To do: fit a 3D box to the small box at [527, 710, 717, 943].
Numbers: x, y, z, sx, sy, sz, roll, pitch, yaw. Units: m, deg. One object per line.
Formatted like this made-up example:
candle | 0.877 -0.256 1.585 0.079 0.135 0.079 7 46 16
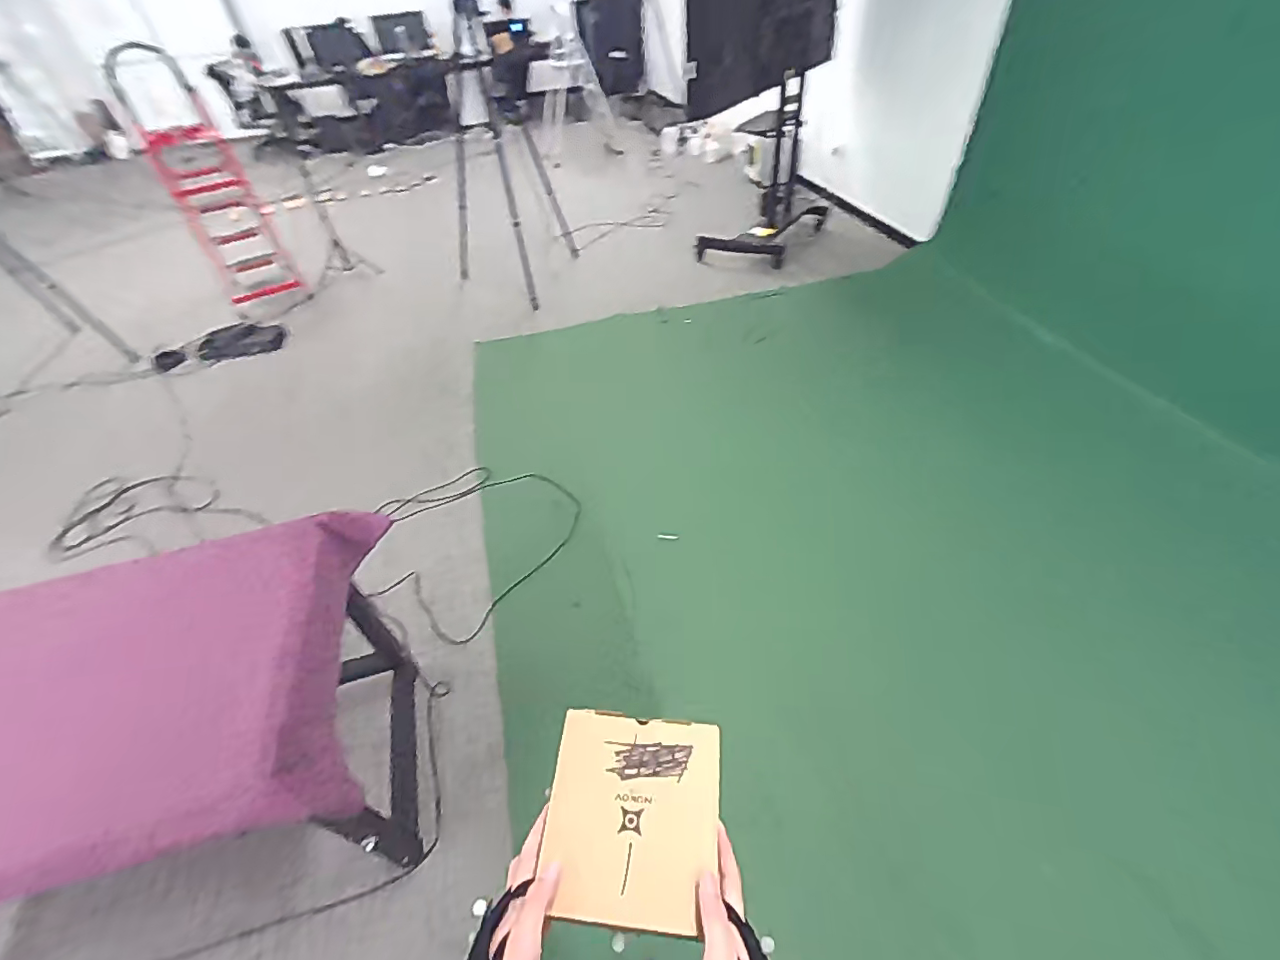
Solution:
small box | -0.010 0.369 0.577 0.168 0.176 0.179 4 50 4
